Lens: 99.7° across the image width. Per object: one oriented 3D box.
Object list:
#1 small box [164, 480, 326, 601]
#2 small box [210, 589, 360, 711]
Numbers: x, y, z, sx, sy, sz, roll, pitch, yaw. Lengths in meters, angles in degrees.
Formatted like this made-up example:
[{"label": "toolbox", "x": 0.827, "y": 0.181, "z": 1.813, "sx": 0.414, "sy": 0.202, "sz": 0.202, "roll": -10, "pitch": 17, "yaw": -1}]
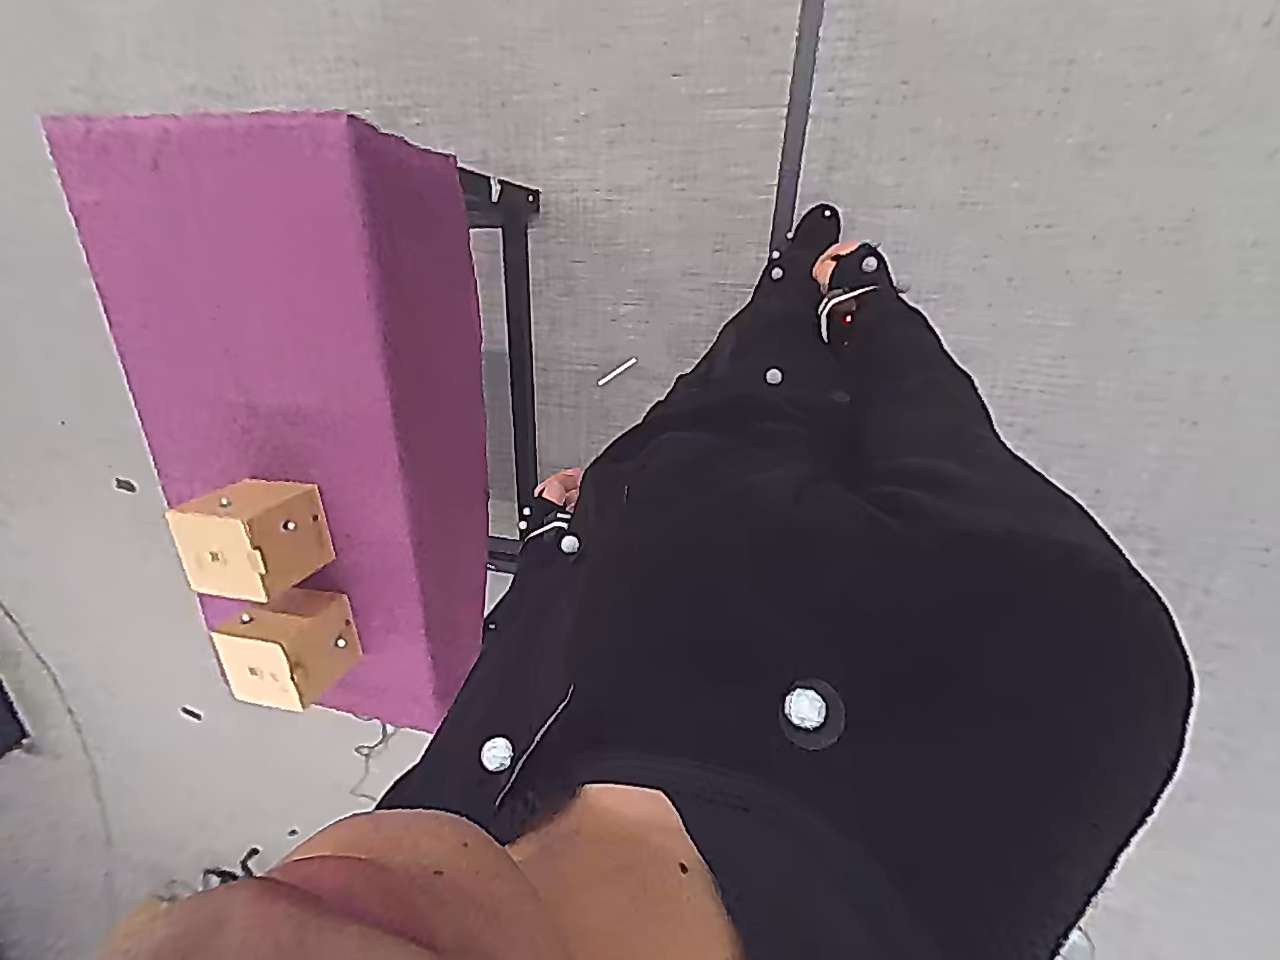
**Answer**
[{"label": "small box", "x": -0.735, "y": 0.108, "z": 1.032, "sx": 0.179, "sy": 0.176, "sz": 0.168, "roll": 5, "pitch": 112, "yaw": 13}, {"label": "small box", "x": -0.723, "y": 0.343, "z": 1.120, "sx": 0.179, "sy": 0.176, "sz": 0.168, "roll": 3, "pitch": 112, "yaw": 13}]
